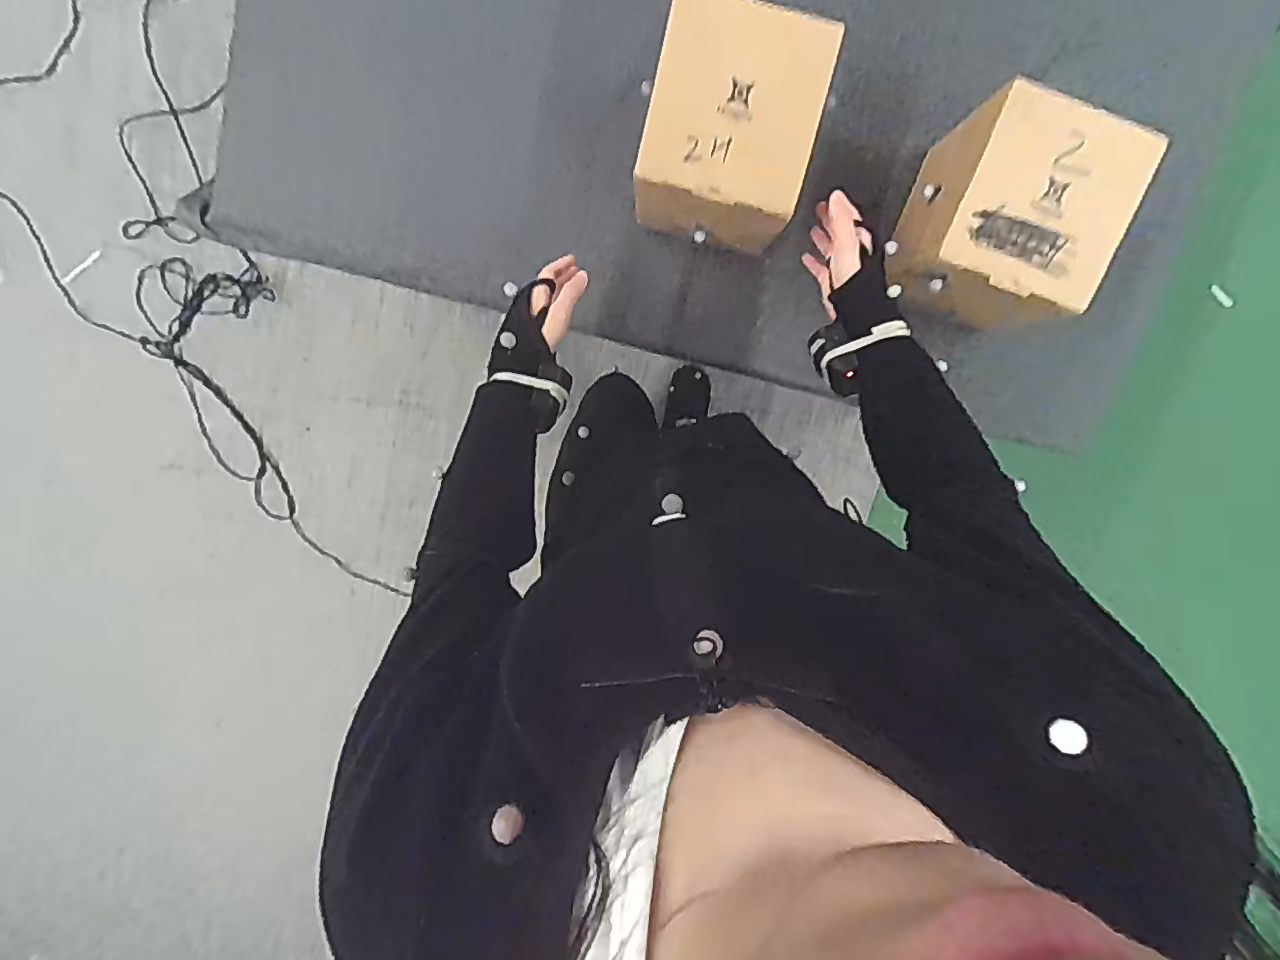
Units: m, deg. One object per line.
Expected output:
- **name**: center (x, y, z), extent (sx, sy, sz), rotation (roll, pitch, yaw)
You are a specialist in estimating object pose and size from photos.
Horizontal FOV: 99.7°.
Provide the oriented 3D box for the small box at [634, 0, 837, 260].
- **small box**: center (0.092, -0.372, 0.608), extent (0.168, 0.176, 0.179), rotation (14, 99, -1)
